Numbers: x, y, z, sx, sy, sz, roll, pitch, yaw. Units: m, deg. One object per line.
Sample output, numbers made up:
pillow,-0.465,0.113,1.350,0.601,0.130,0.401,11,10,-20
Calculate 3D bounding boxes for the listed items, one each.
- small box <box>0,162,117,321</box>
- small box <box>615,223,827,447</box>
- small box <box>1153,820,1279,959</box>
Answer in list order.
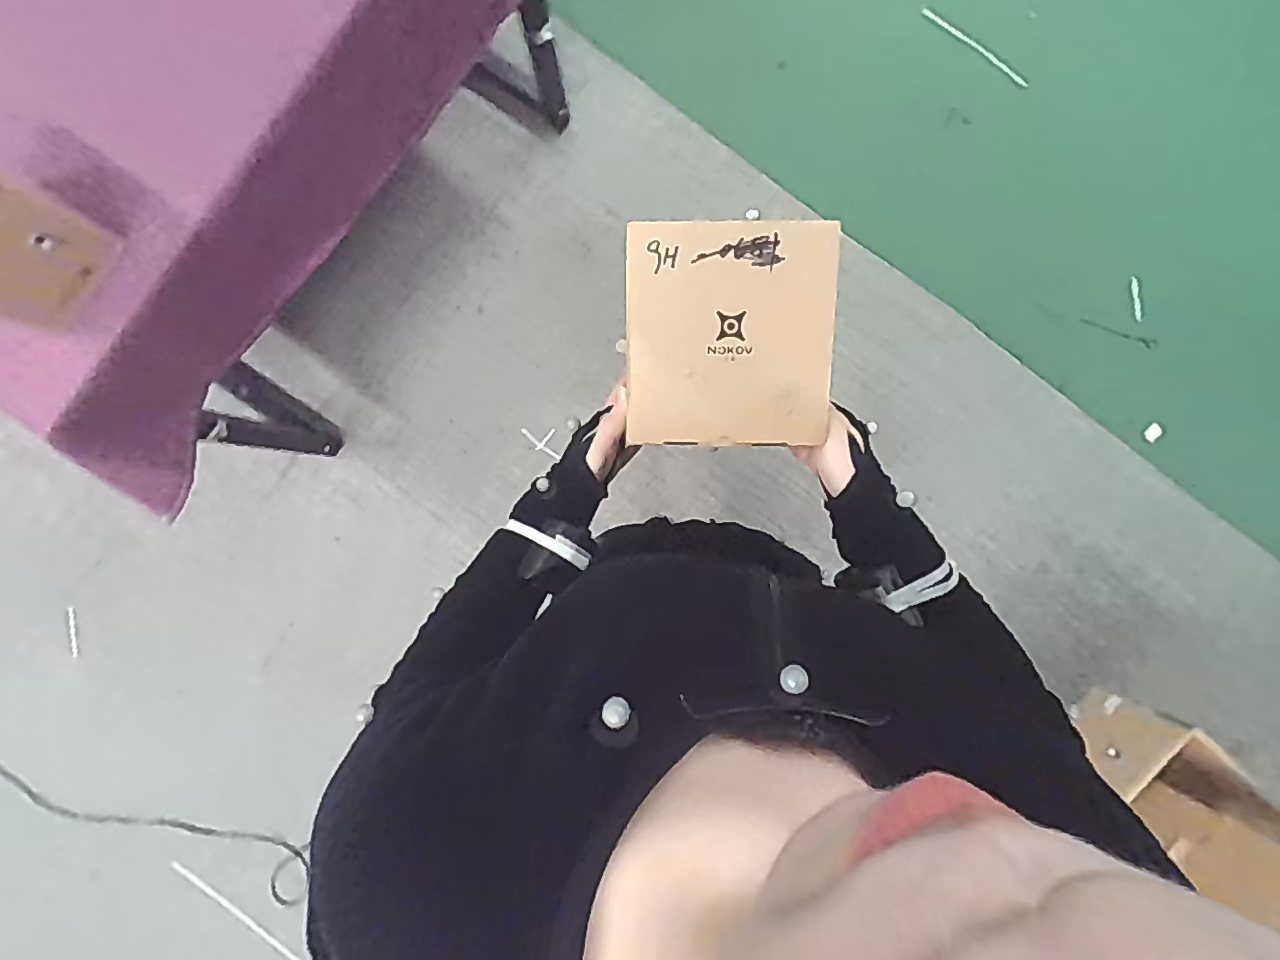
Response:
small box,-0.868,-0.333,0.709,0.179,0.176,0.168,33,87,2
small box,0.064,-0.130,0.511,0.168,0.176,0.179,0,102,1
small box,0.901,0.633,0.760,0.168,0.176,0.179,42,90,2
